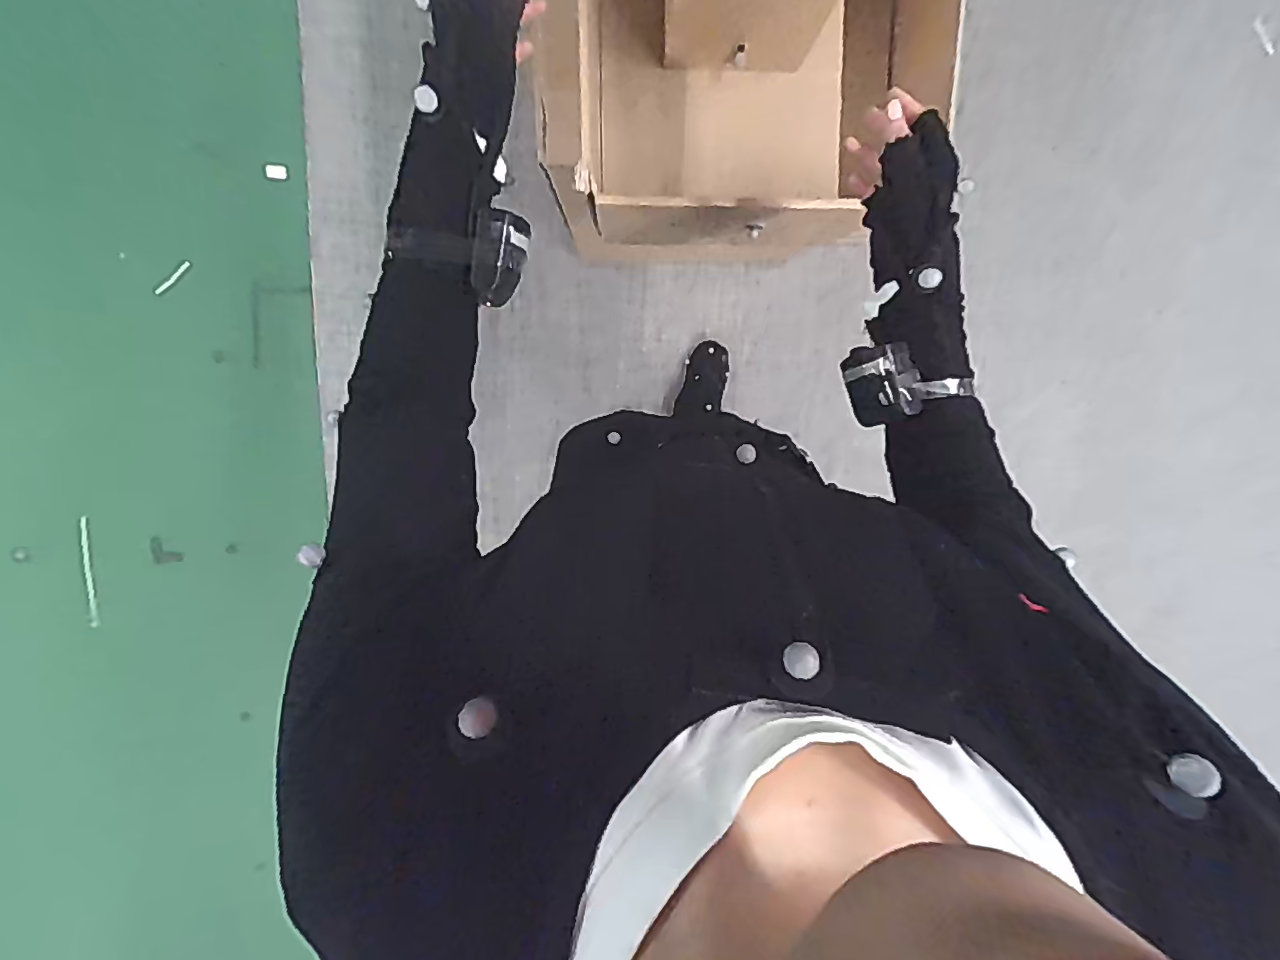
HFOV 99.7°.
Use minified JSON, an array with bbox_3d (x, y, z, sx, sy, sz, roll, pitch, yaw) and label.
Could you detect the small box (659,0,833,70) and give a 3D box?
[{"bbox_3d":[0.116,-0.583,0.586,0.179,0.176,0.168,0,98,-3],"label":"small box"}]
